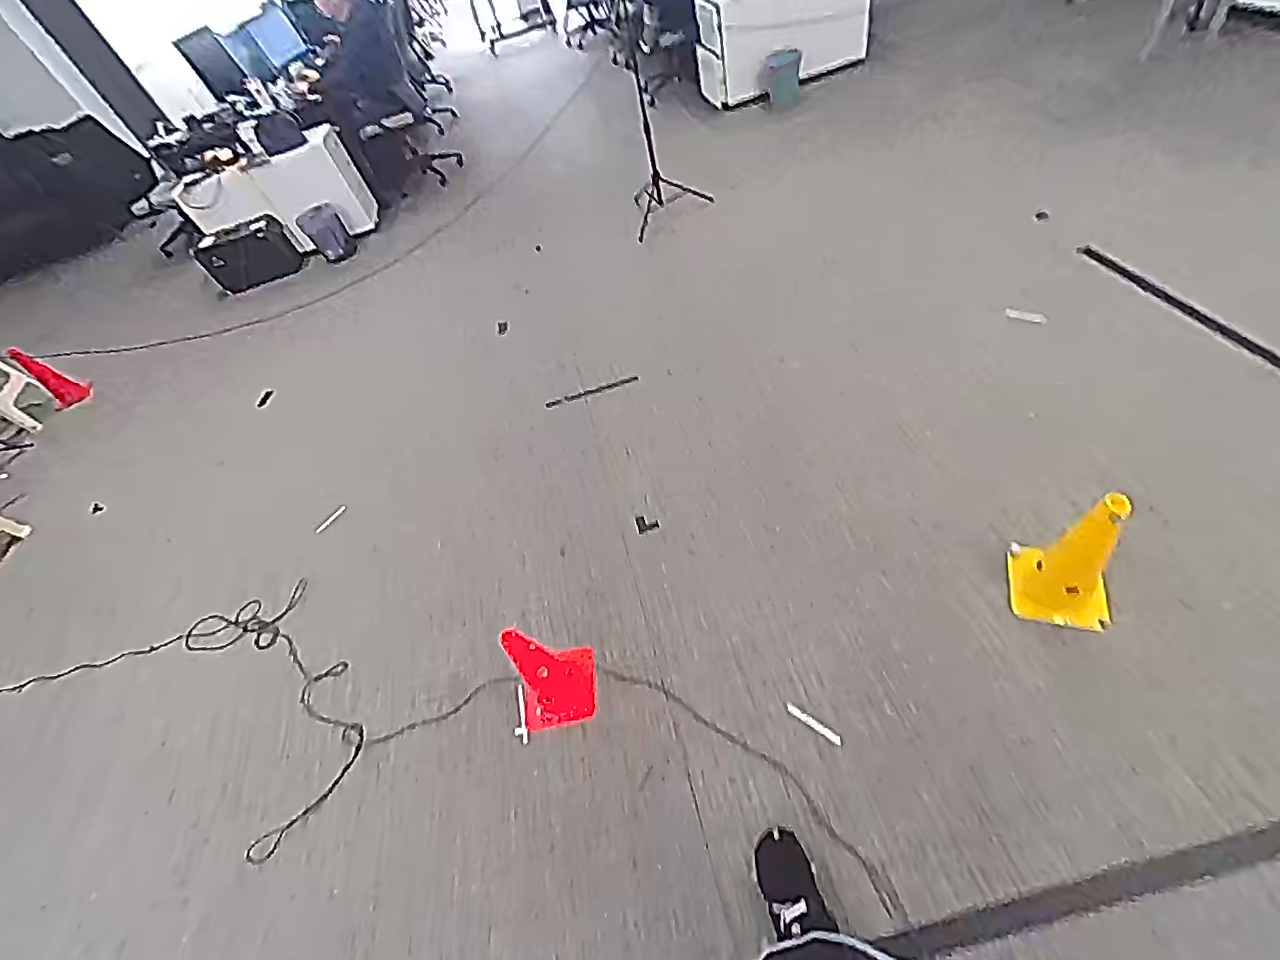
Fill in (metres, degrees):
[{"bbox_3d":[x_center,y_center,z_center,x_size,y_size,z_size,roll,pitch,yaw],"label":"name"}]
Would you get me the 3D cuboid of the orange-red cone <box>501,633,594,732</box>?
[{"bbox_3d":[-0.257,0.467,1.343,0.199,0.360,0.198,-12,50,5],"label":"orange-red cone"}]
